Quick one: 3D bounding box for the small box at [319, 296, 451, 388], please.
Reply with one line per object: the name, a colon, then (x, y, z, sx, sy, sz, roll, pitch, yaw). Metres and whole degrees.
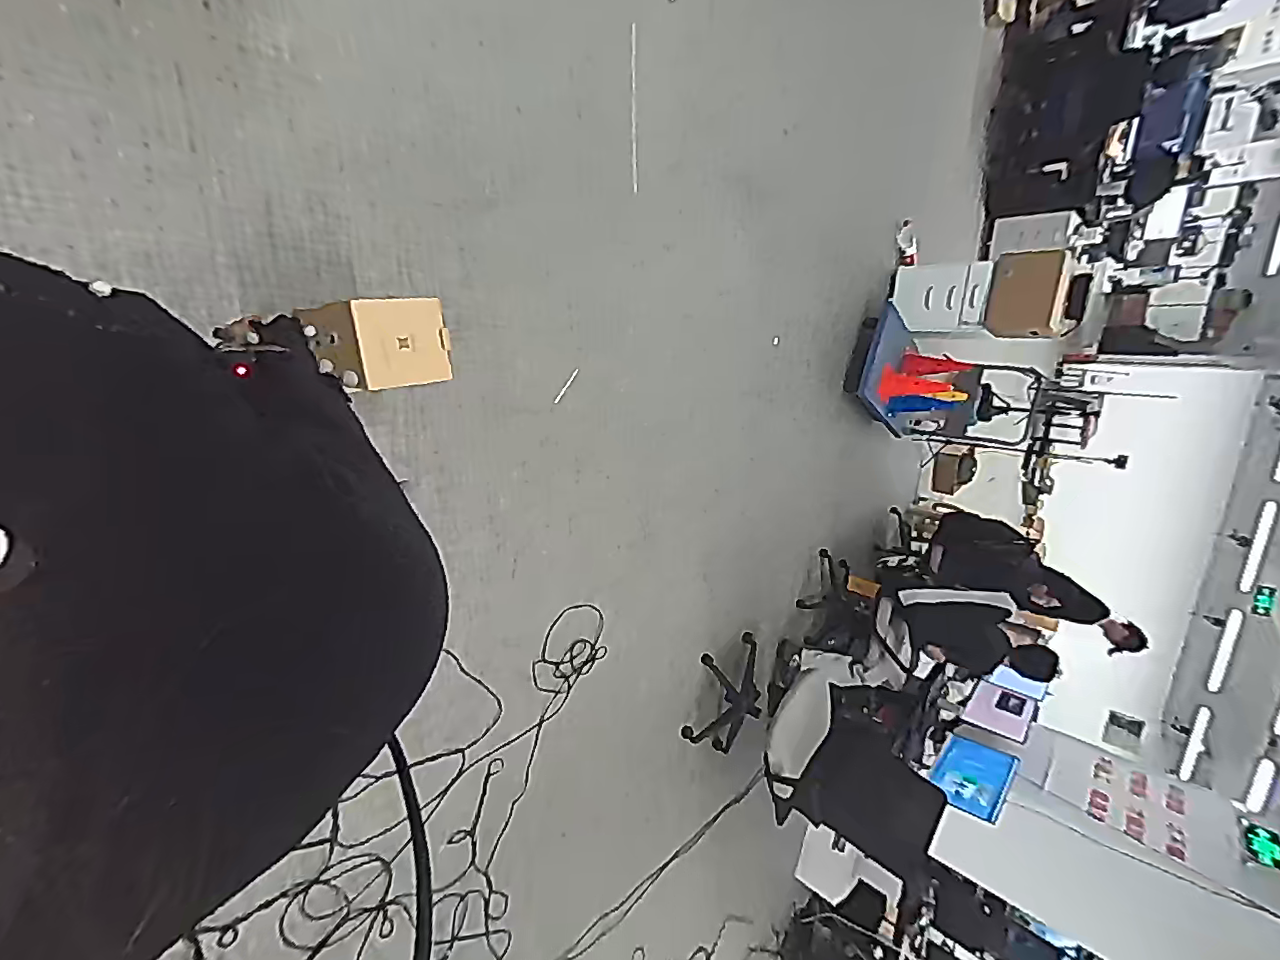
small box: (-0.516, -0.285, 1.099, 0.179, 0.176, 0.168, -21, 114, -42)

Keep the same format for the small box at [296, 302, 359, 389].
small box: (-0.638, -0.302, 1.206, 0.168, 0.176, 0.179, -21, 115, -43)
